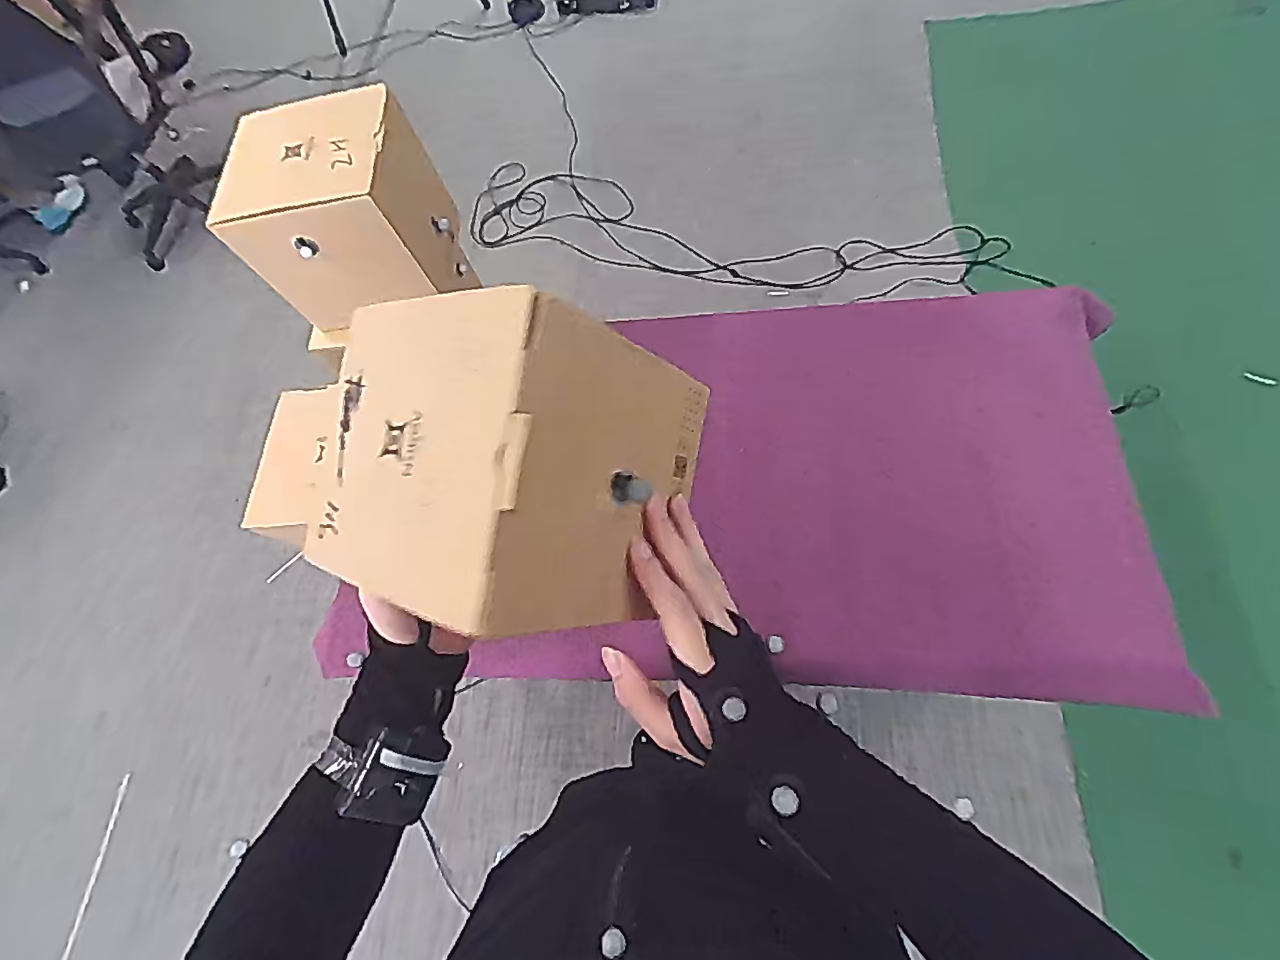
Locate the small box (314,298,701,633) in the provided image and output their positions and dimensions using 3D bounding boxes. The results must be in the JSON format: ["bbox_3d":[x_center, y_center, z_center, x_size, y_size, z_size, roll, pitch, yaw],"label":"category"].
[{"bbox_3d":[-0.077,-0.007,0.366,0.179,0.176,0.168,8,85,33],"label":"small box"}]

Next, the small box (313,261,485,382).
[{"bbox_3d":[-0.317,-0.210,0.768,0.168,0.176,0.179,-4,67,7],"label":"small box"}]

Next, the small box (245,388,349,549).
[{"bbox_3d":[-0.338,0.000,0.683,0.168,0.176,0.179,-3,67,8],"label":"small box"}]

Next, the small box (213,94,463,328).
[{"bbox_3d":[-0.329,-0.297,0.627,0.179,0.176,0.168,-7,67,6],"label":"small box"}]
